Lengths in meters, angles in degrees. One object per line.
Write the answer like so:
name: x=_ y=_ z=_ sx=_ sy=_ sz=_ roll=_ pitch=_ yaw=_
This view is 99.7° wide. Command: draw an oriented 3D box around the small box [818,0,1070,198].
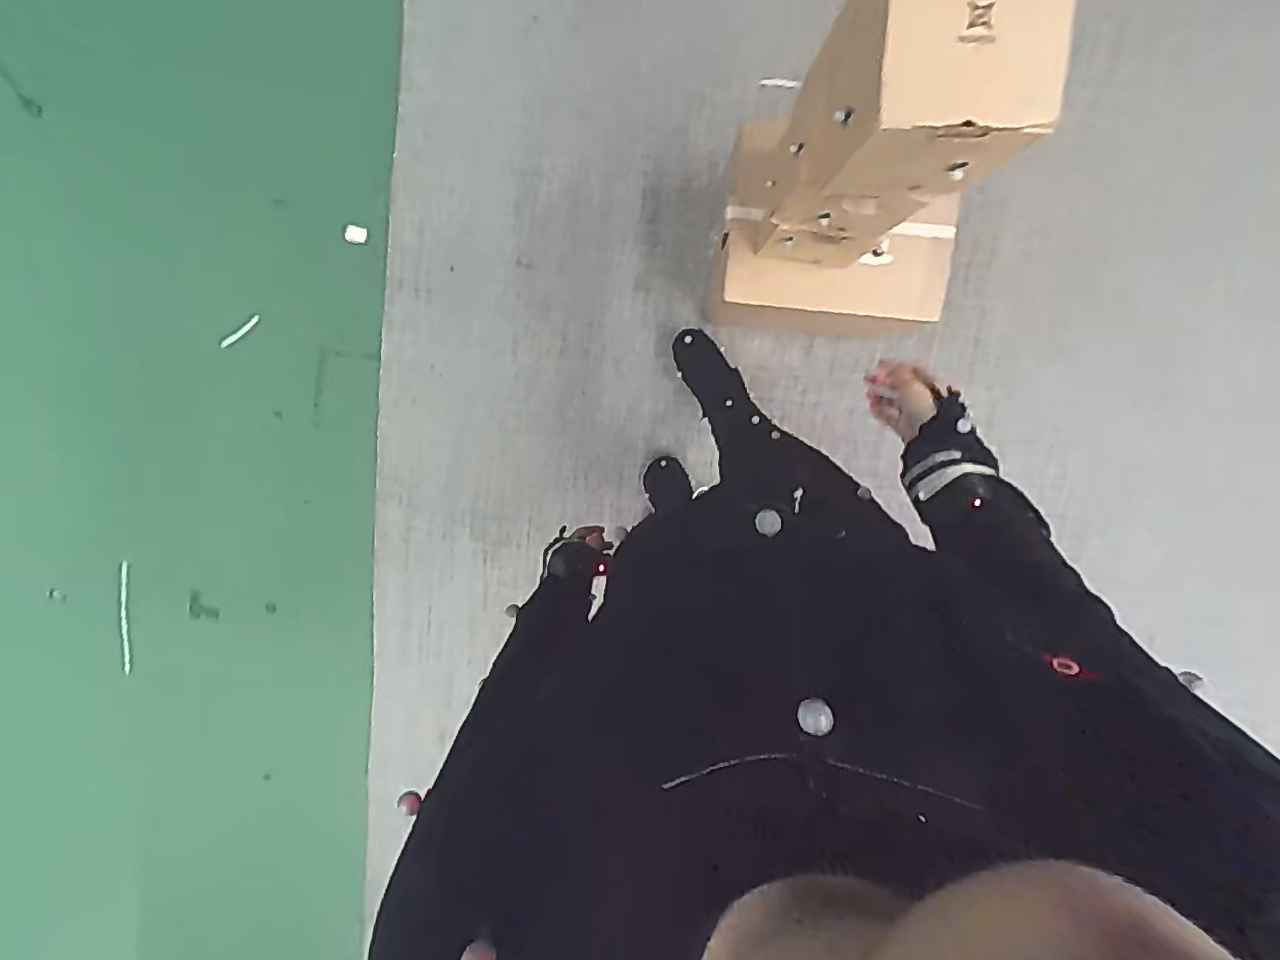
small box: x=0.291 y=-0.407 z=0.553 sx=0.168 sy=0.176 sz=0.179 roll=0 pitch=98 yaw=-1

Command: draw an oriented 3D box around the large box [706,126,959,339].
large box: x=0.362 y=-0.477 z=1.117 sx=0.408 sy=0.320 sz=0.320 roll=5 pitch=99 yaw=-1

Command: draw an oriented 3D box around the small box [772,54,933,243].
small box: x=0.285 y=-0.438 z=0.713 sx=0.168 sy=0.176 sz=0.179 roll=11 pitch=99 yaw=-2
